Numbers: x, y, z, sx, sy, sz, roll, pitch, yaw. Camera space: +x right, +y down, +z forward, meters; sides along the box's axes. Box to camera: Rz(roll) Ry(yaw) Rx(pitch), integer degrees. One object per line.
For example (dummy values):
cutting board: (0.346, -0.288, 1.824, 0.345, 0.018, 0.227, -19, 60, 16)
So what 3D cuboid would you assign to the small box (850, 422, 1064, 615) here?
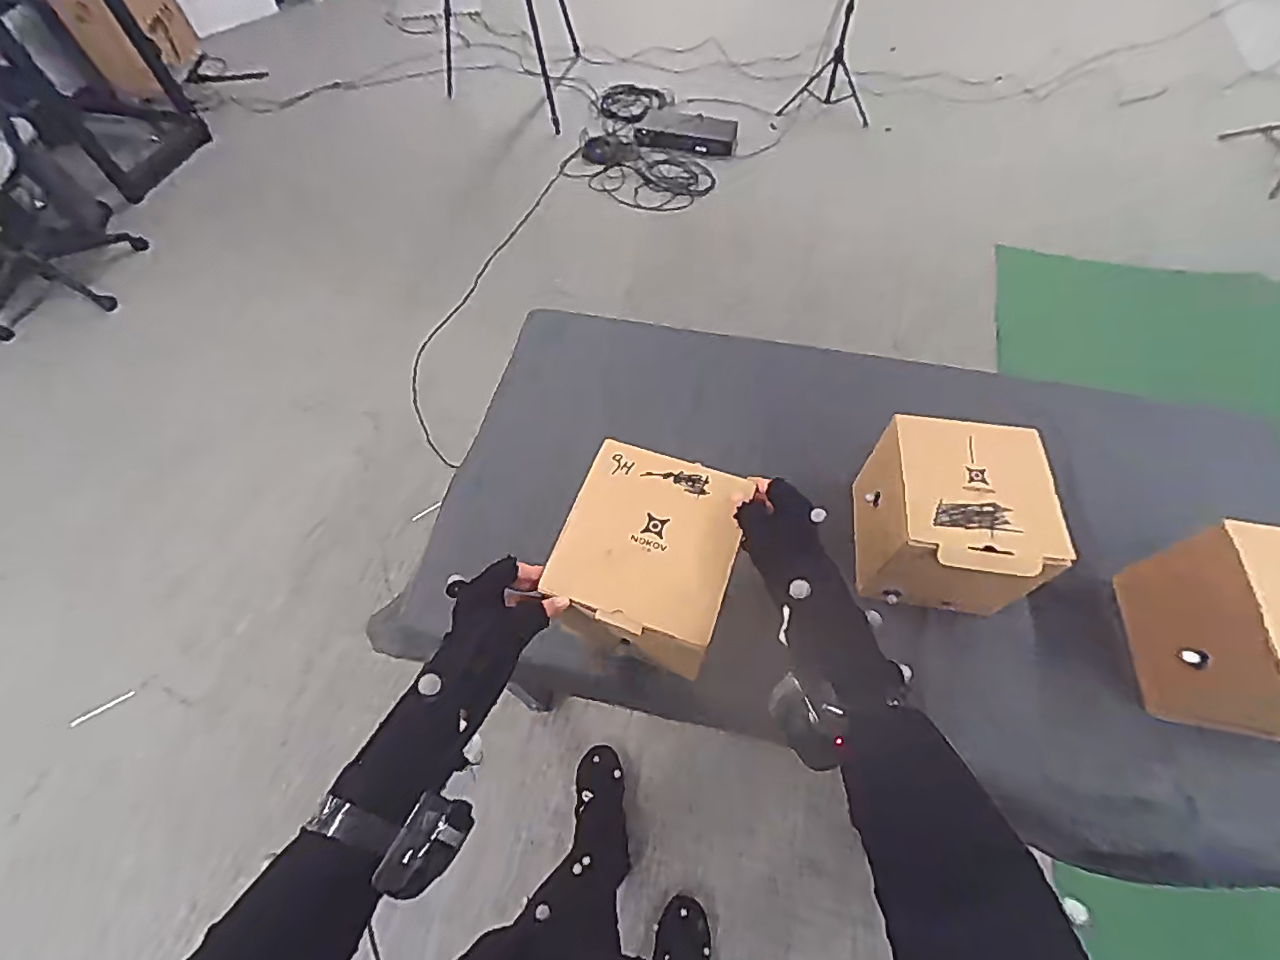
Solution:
small box: (0.371, 0.054, 0.672, 0.168, 0.176, 0.179, 7, 57, 6)

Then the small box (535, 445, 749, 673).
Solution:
small box: (0.010, 0.094, 0.592, 0.168, 0.176, 0.179, 16, 64, 11)

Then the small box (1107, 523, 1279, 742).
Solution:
small box: (0.671, 0.173, 0.590, 0.168, 0.176, 0.179, 9, 57, 6)
